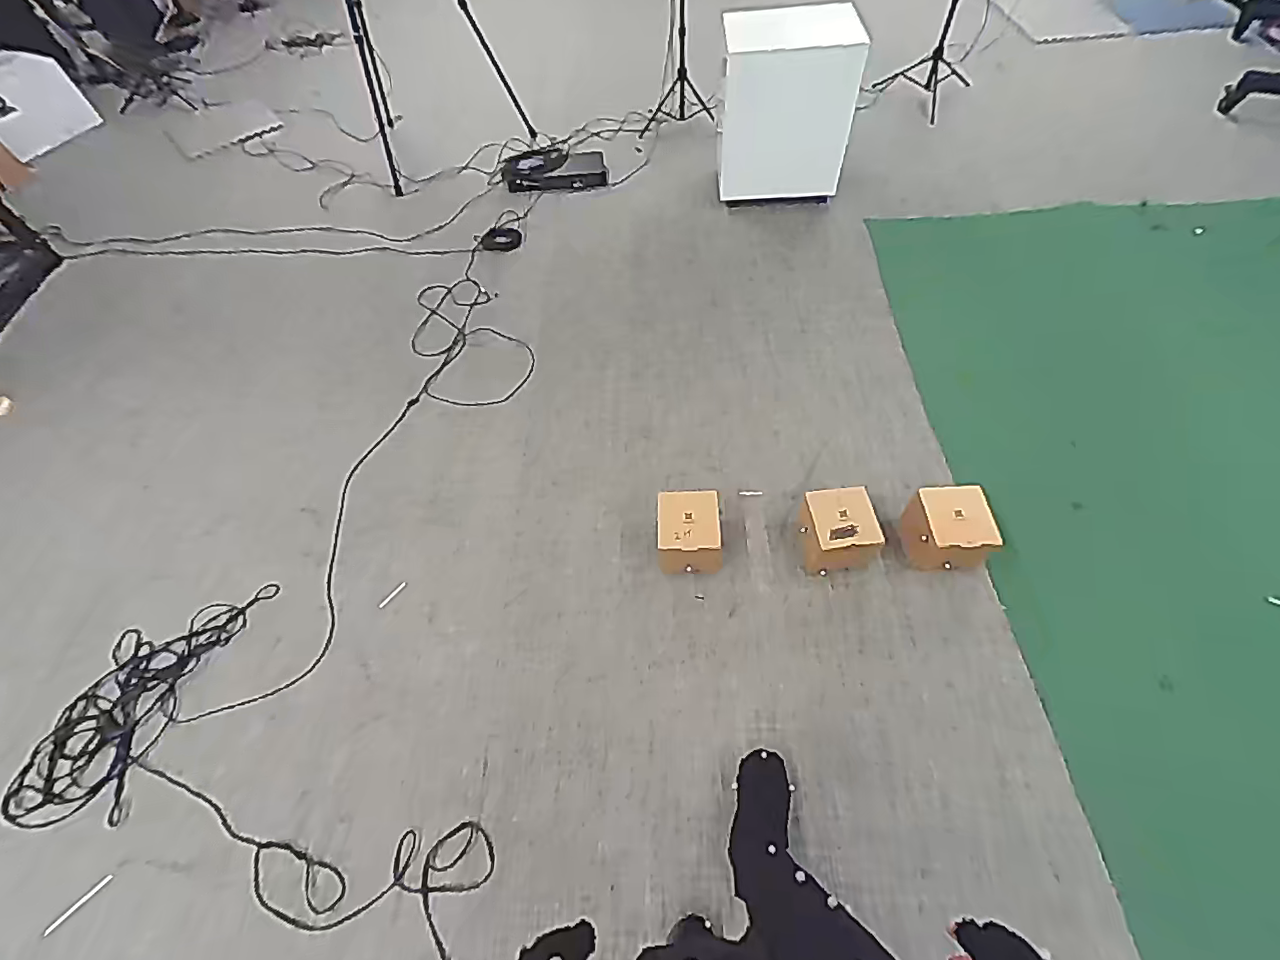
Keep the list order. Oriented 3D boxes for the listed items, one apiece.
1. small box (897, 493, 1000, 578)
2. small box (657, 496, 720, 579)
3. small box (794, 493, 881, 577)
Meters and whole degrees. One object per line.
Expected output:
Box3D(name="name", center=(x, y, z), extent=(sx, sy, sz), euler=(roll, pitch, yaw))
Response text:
Box3D(name="small box", center=(0.826, 0.153, 1.471), extent=(0.168, 0.176, 0.179), euler=(-3, 57, 3))
Box3D(name="small box", center=(0.132, 0.162, 1.508), extent=(0.168, 0.176, 0.179), euler=(-2, 57, 4))
Box3D(name="small box", center=(0.534, 0.158, 1.486), extent=(0.168, 0.176, 0.179), euler=(-5, 55, 0))
